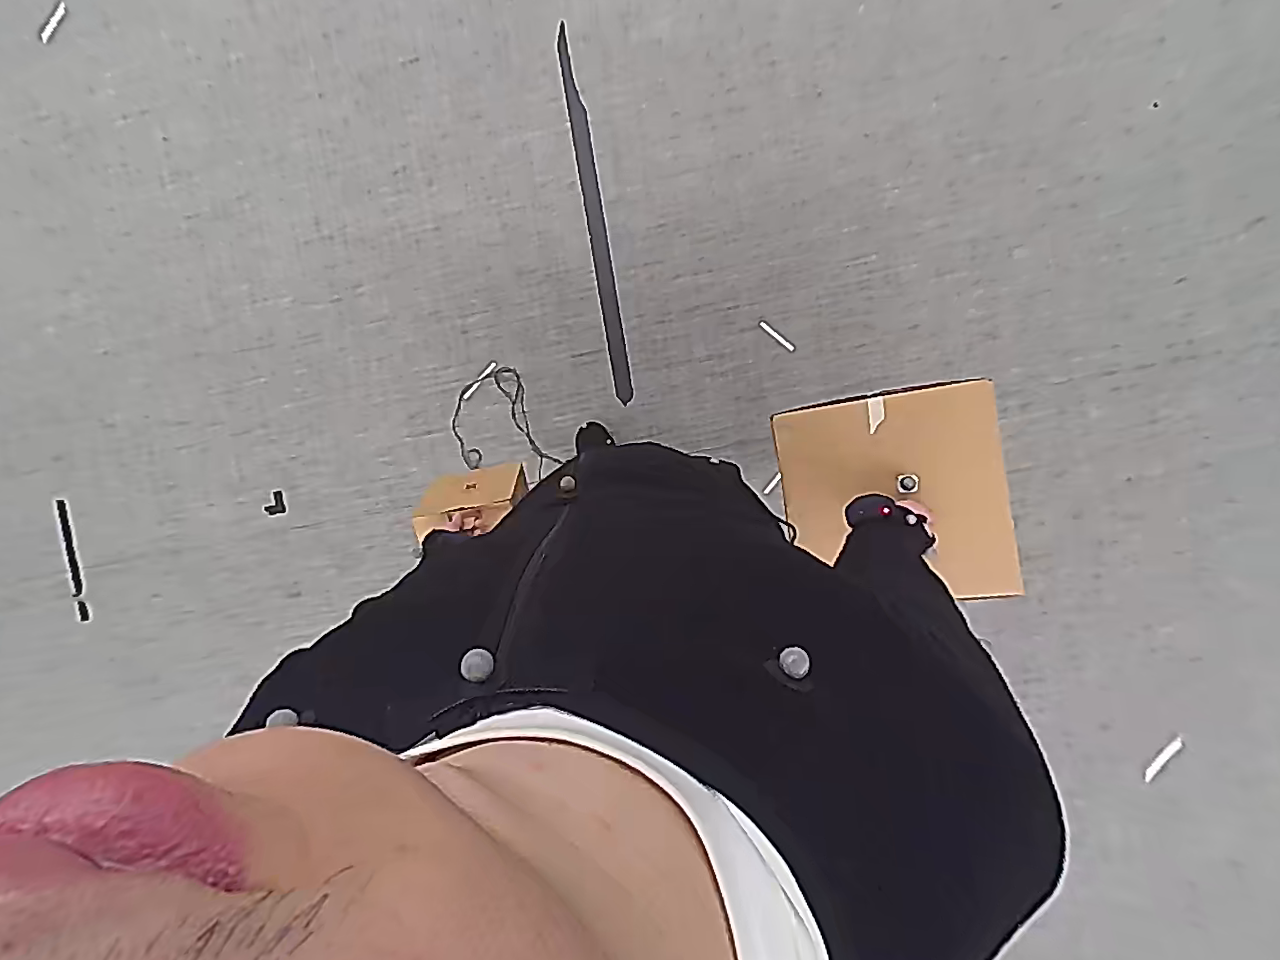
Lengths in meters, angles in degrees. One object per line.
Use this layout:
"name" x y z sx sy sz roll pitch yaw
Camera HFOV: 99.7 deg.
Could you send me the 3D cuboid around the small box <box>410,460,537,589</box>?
"small box" -0.291 0.084 0.991 0.168 0.179 0.176 -9 114 -2
